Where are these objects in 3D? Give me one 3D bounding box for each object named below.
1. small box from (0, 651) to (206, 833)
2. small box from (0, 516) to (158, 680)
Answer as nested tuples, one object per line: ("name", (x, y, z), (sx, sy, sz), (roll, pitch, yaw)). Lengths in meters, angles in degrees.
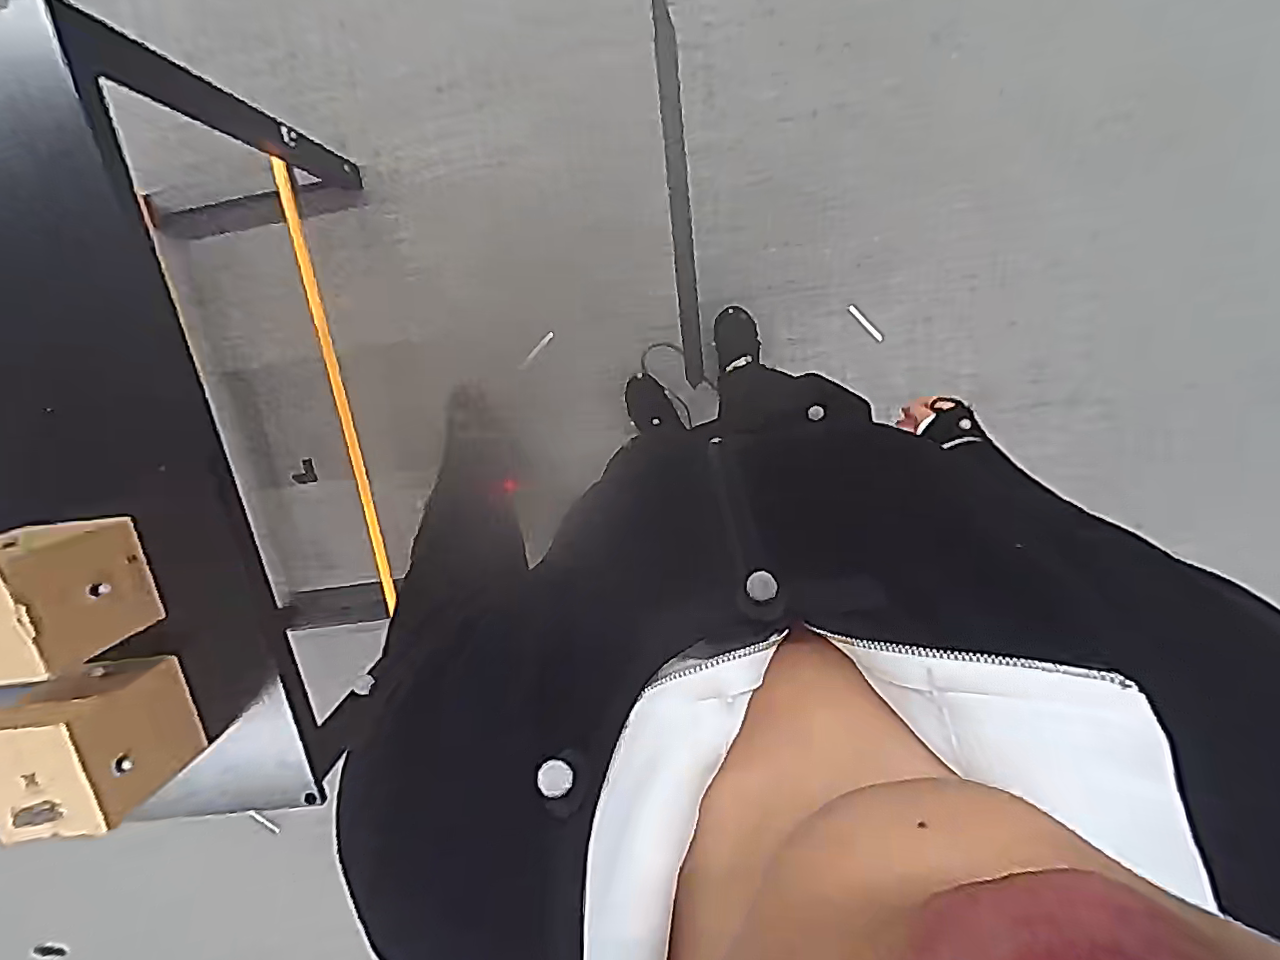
("small box", (-0.804, 0.381, 0.805), (0.168, 0.176, 0.179), (-7, 103, 4))
("small box", (-0.829, 0.156, 0.749), (0.179, 0.176, 0.168), (-6, 104, 3))
